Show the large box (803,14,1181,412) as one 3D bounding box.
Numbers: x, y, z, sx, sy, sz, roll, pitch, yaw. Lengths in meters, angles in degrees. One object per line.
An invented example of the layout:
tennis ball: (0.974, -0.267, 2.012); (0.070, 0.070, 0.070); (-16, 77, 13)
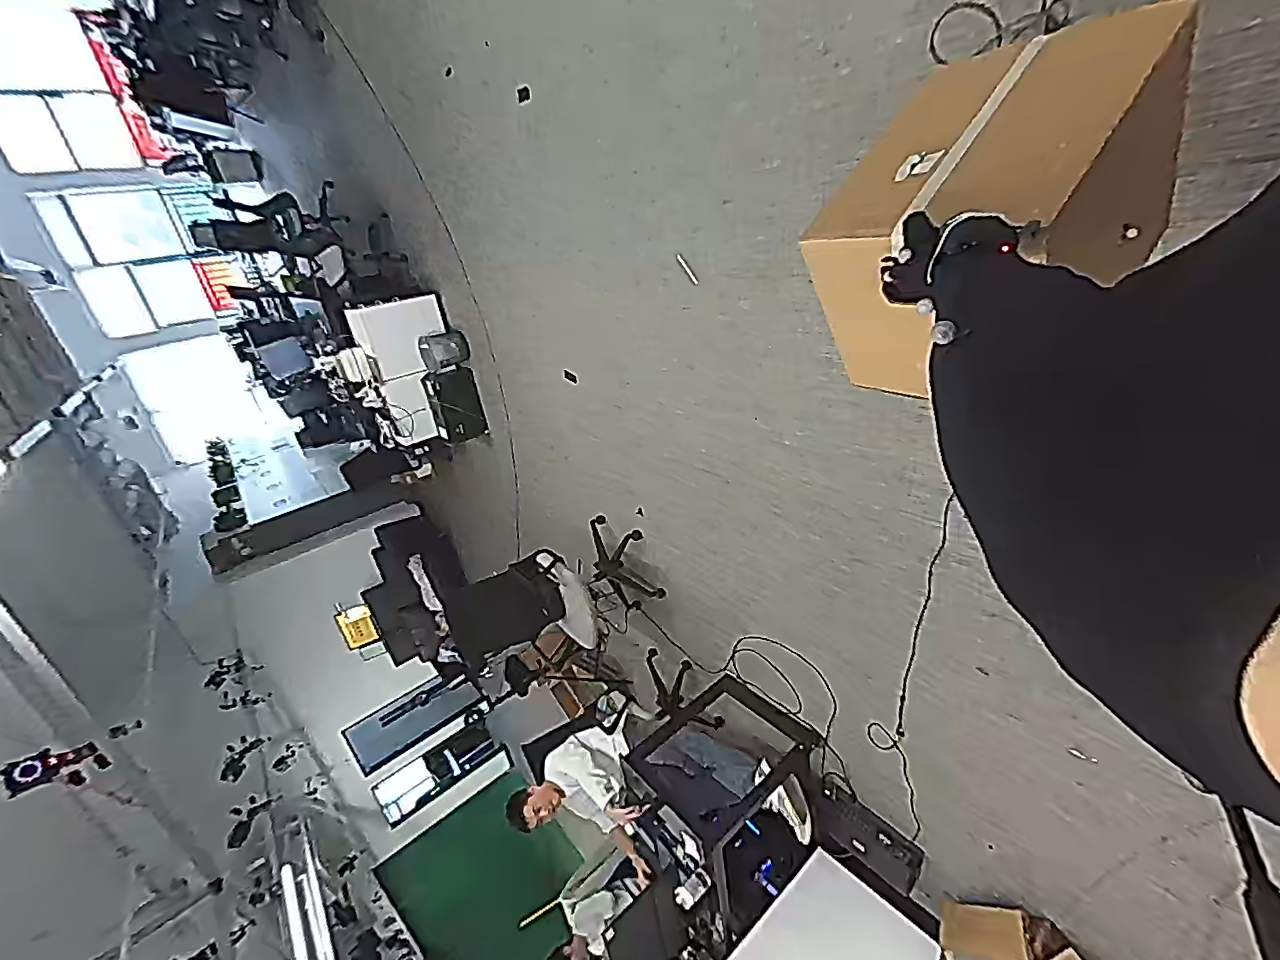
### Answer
large box: (0.525, -0.374, 0.822); (0.320, 0.408, 0.320); (25, 164, 49)
